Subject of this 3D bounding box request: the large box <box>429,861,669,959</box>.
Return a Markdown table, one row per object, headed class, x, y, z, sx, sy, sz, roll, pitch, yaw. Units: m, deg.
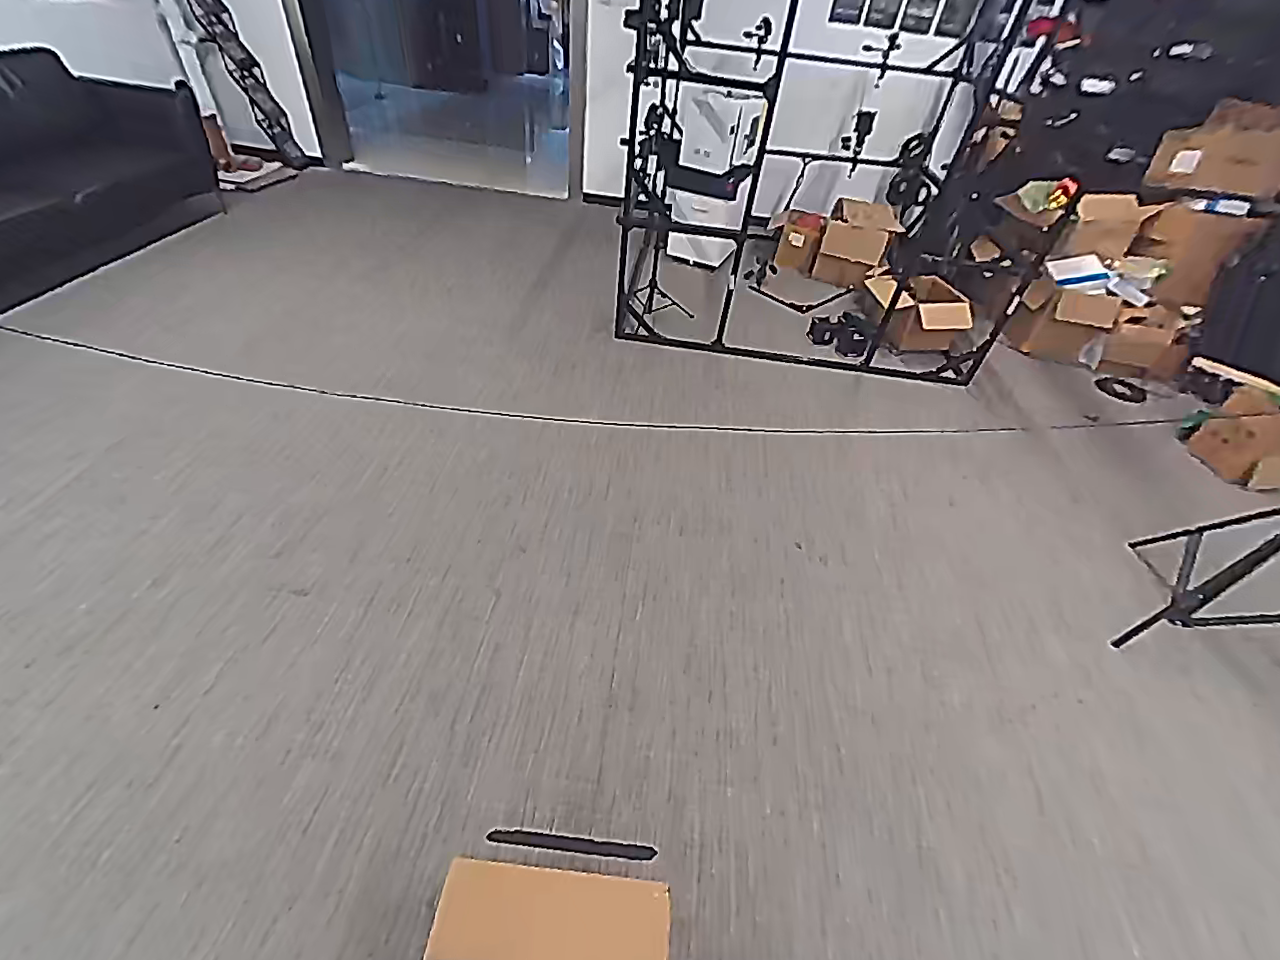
| class | x | y | z | sx | sy | sz | roll | pitch | yaw |
| --- | --- | --- | --- | --- | --- | --- | --- | --- | --- |
| large box | -0.171 | 0.932 | 0.978 | 0.408 | 0.320 | 0.320 | 8 | 42 | -1 |
